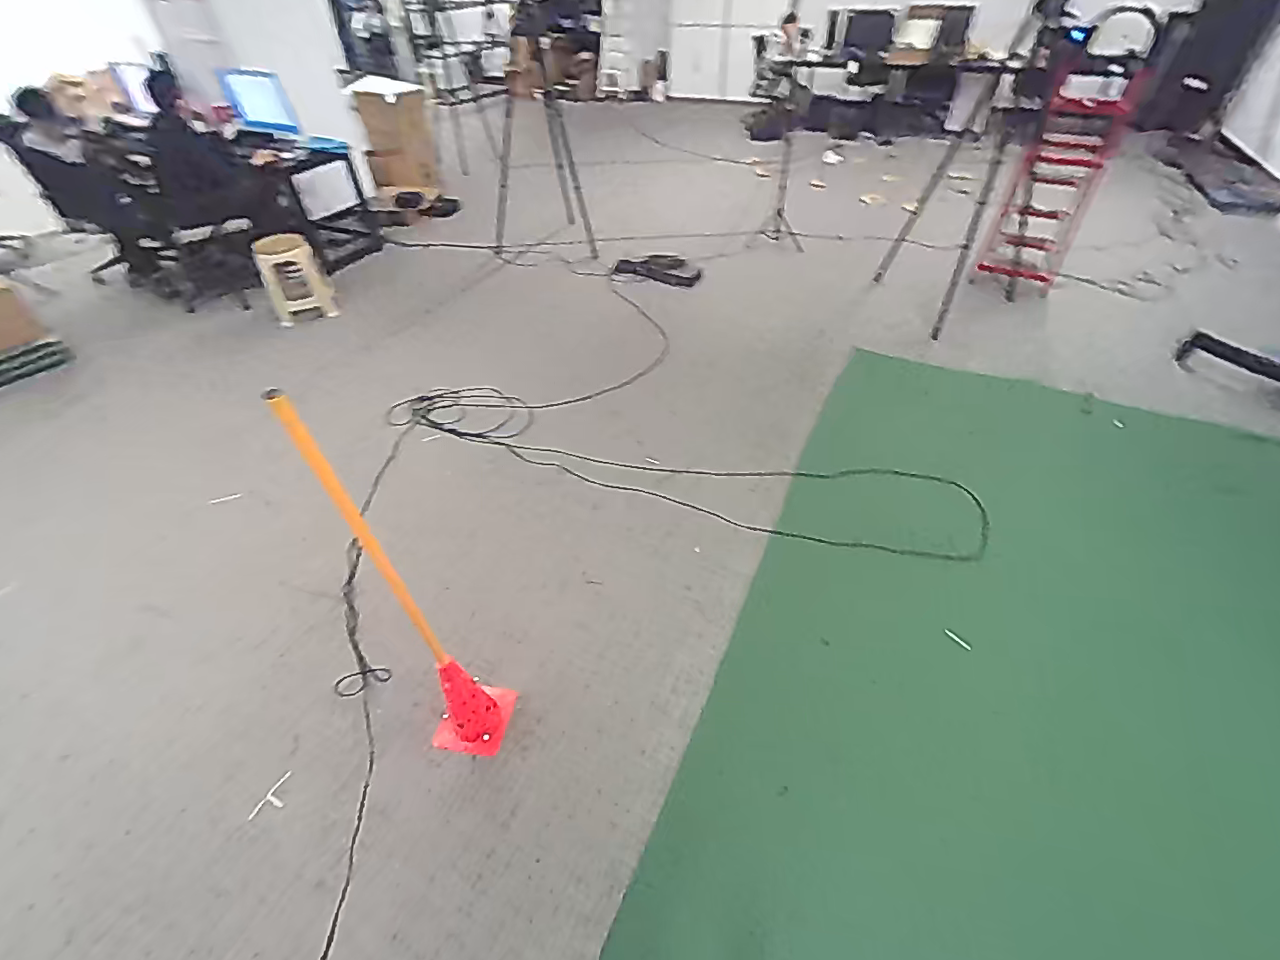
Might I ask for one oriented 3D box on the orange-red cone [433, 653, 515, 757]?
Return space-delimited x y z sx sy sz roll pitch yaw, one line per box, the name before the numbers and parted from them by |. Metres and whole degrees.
orange-red cone | -0.497 0.587 1.506 0.198 0.360 0.199 8 43 9
